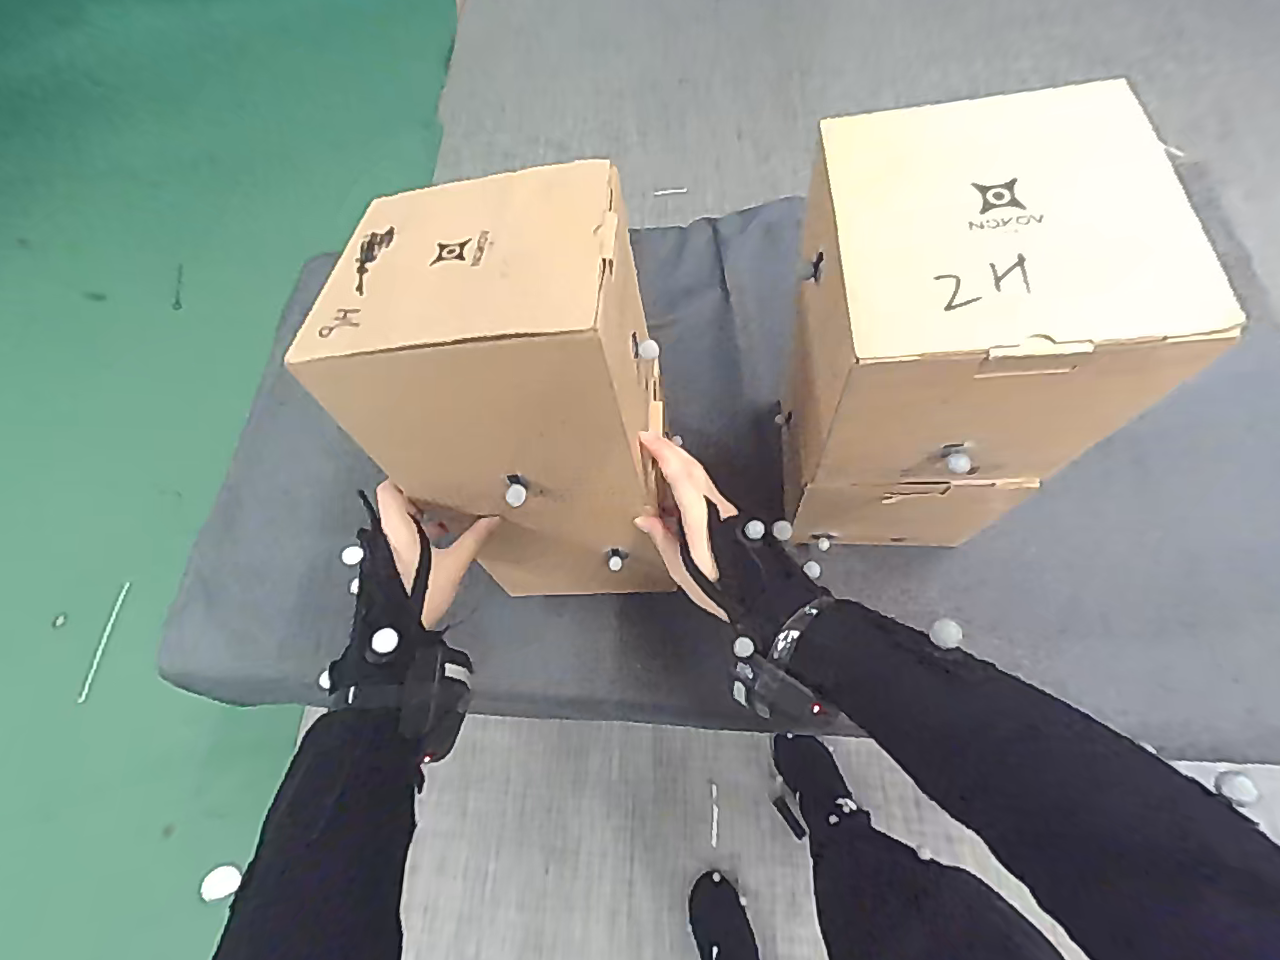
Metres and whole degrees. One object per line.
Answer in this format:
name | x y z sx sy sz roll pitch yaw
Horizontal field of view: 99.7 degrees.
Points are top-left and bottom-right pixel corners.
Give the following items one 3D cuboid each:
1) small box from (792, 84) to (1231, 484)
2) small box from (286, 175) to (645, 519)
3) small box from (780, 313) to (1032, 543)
small box | 0.197 -0.109 0.356 0.168 0.176 0.179 -3 68 10
small box | -0.092 -0.084 0.388 0.179 0.176 0.168 -3 55 8
small box | 0.222 -0.044 0.506 0.168 0.176 0.179 0 67 10
